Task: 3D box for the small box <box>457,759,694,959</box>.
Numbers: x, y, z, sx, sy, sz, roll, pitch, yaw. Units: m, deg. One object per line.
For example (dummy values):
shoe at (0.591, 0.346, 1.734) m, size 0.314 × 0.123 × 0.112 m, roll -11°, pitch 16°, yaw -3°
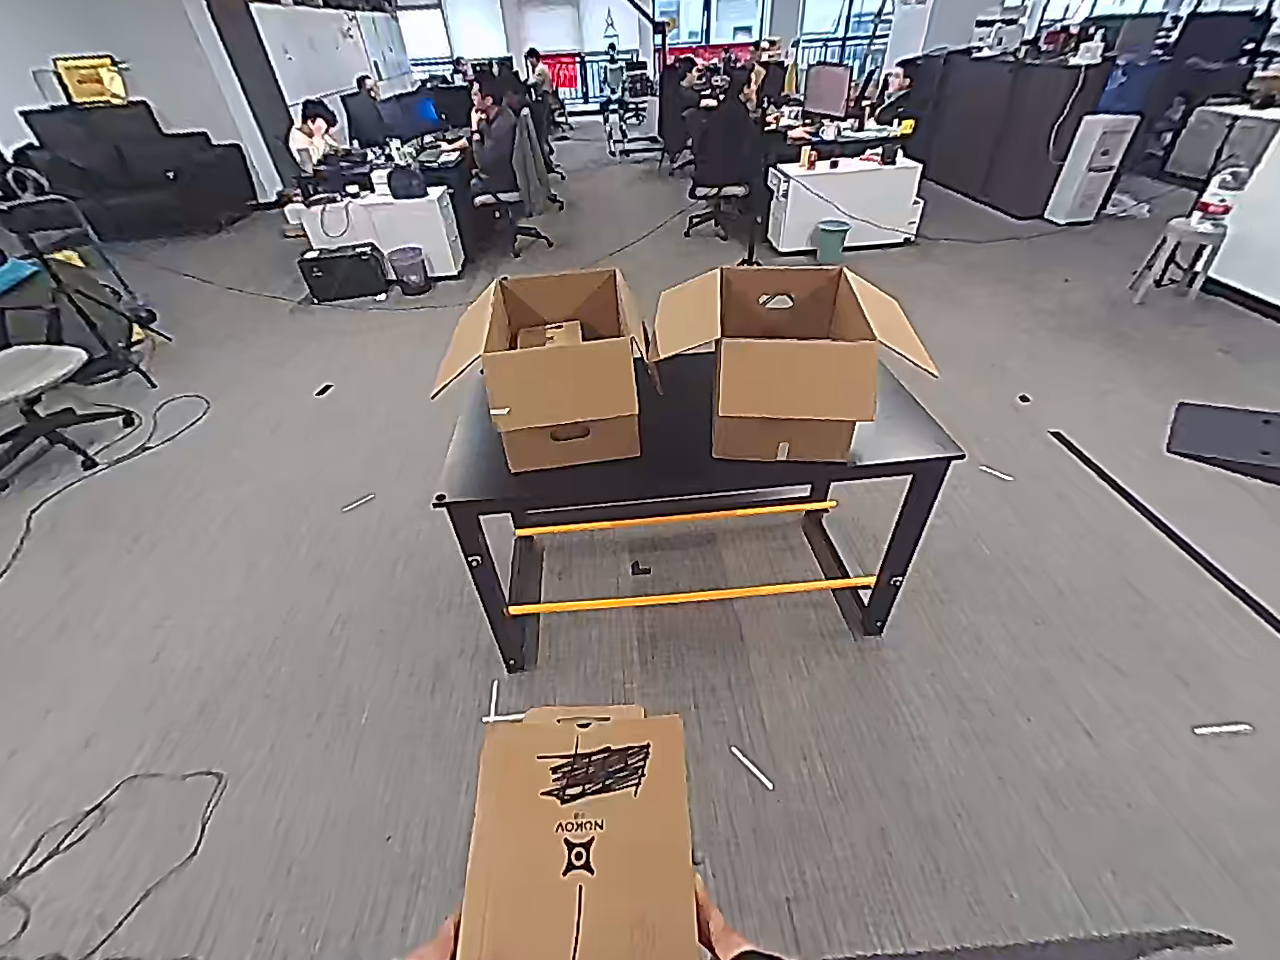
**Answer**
small box at (-0.046, 0.351, 0.457) m, size 0.168 × 0.176 × 0.179 m, roll -2°, pitch 52°, yaw -1°
